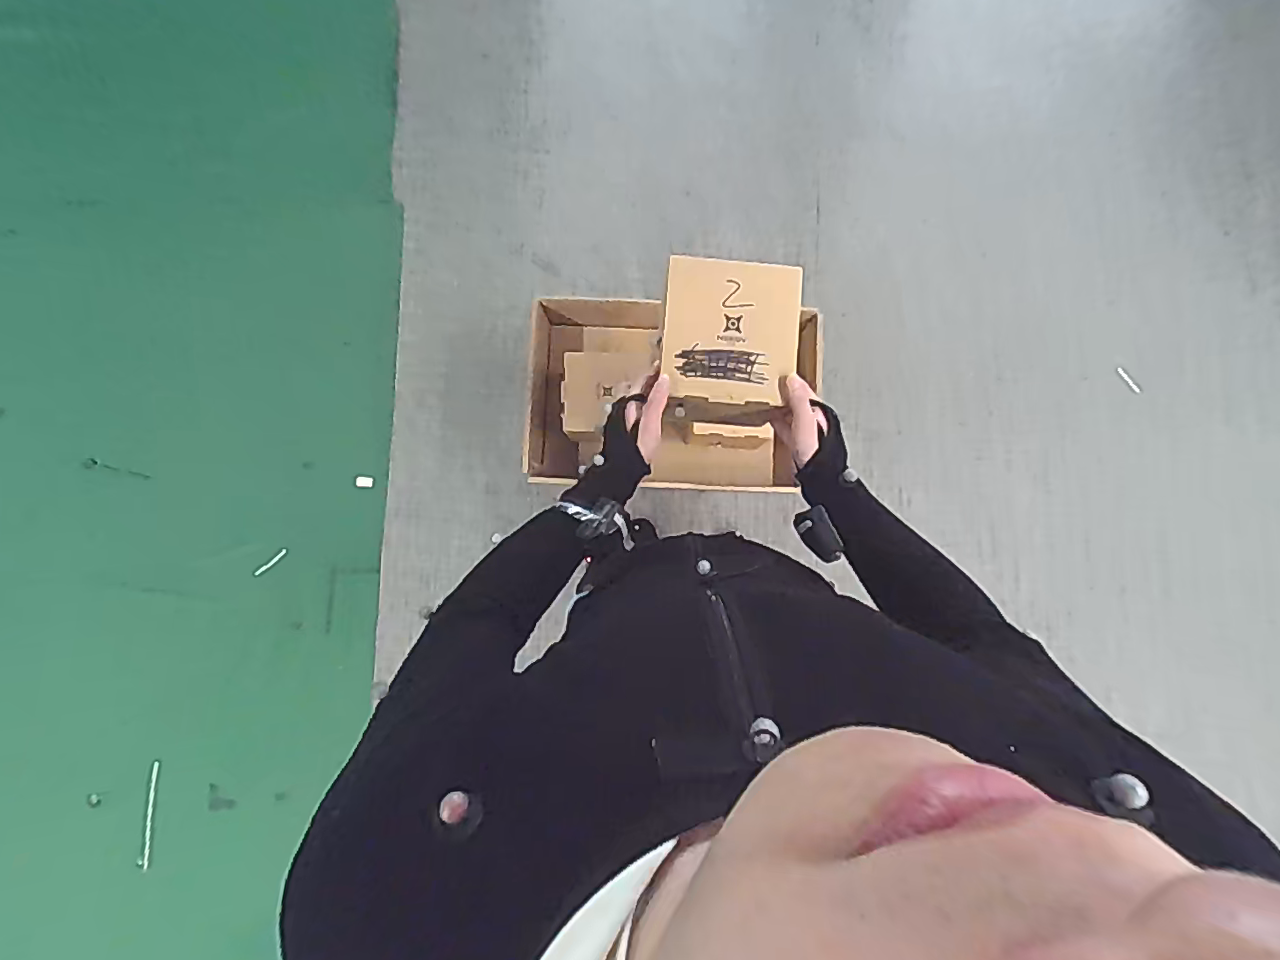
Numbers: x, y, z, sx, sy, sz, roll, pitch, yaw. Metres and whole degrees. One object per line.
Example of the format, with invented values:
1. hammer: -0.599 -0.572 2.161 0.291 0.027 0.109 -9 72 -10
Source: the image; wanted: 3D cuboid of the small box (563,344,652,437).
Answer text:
1. small box: -0.066 -0.187 1.174 0.179 0.176 0.168 2 87 -1
